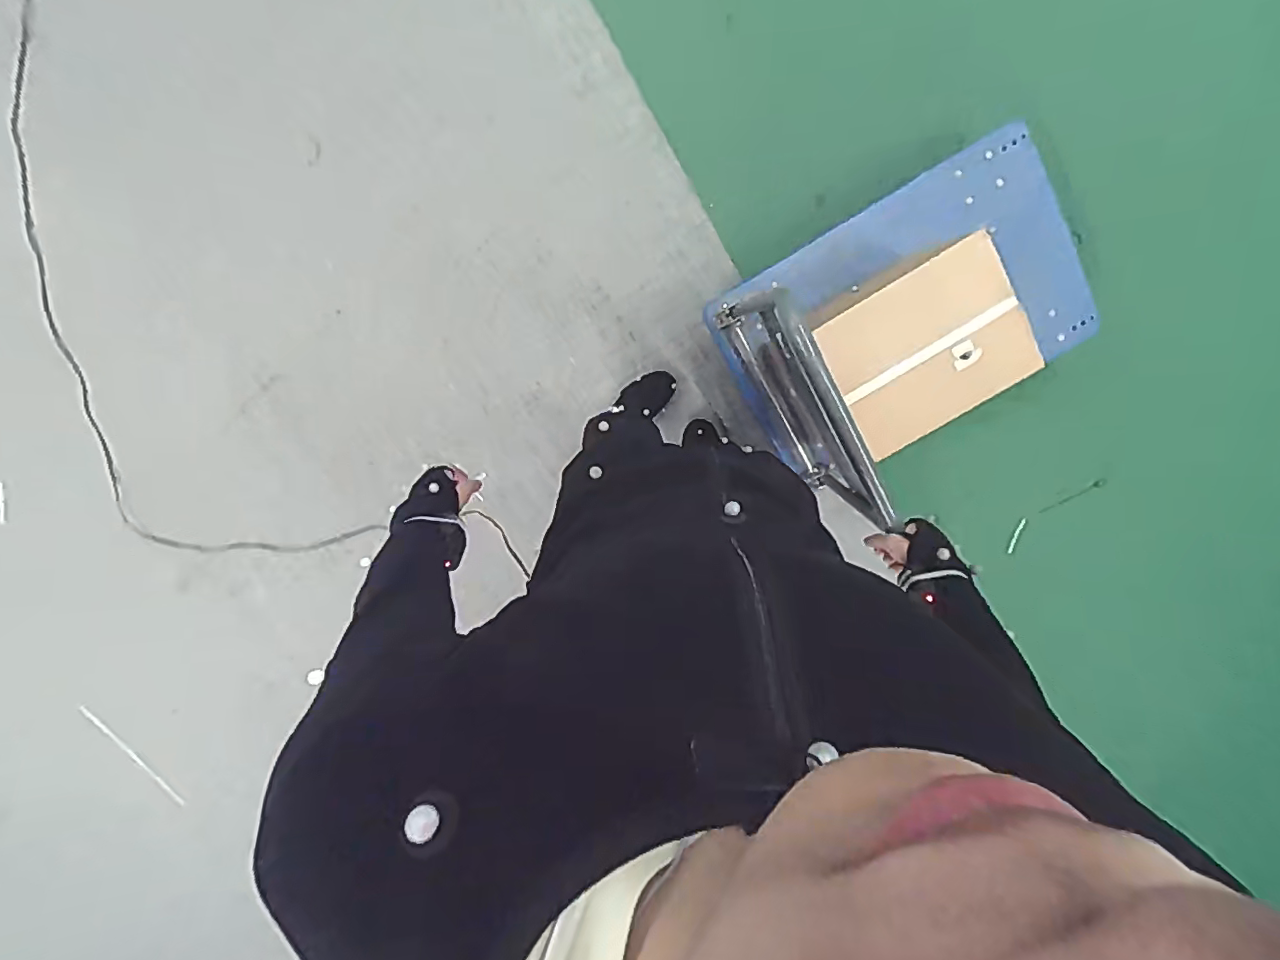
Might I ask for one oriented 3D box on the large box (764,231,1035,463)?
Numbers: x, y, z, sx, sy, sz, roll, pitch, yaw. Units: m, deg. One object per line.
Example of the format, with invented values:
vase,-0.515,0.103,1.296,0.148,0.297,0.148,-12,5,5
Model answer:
large box,0.562,-0.289,1.242,0.408,0.320,0.320,-30,102,4
